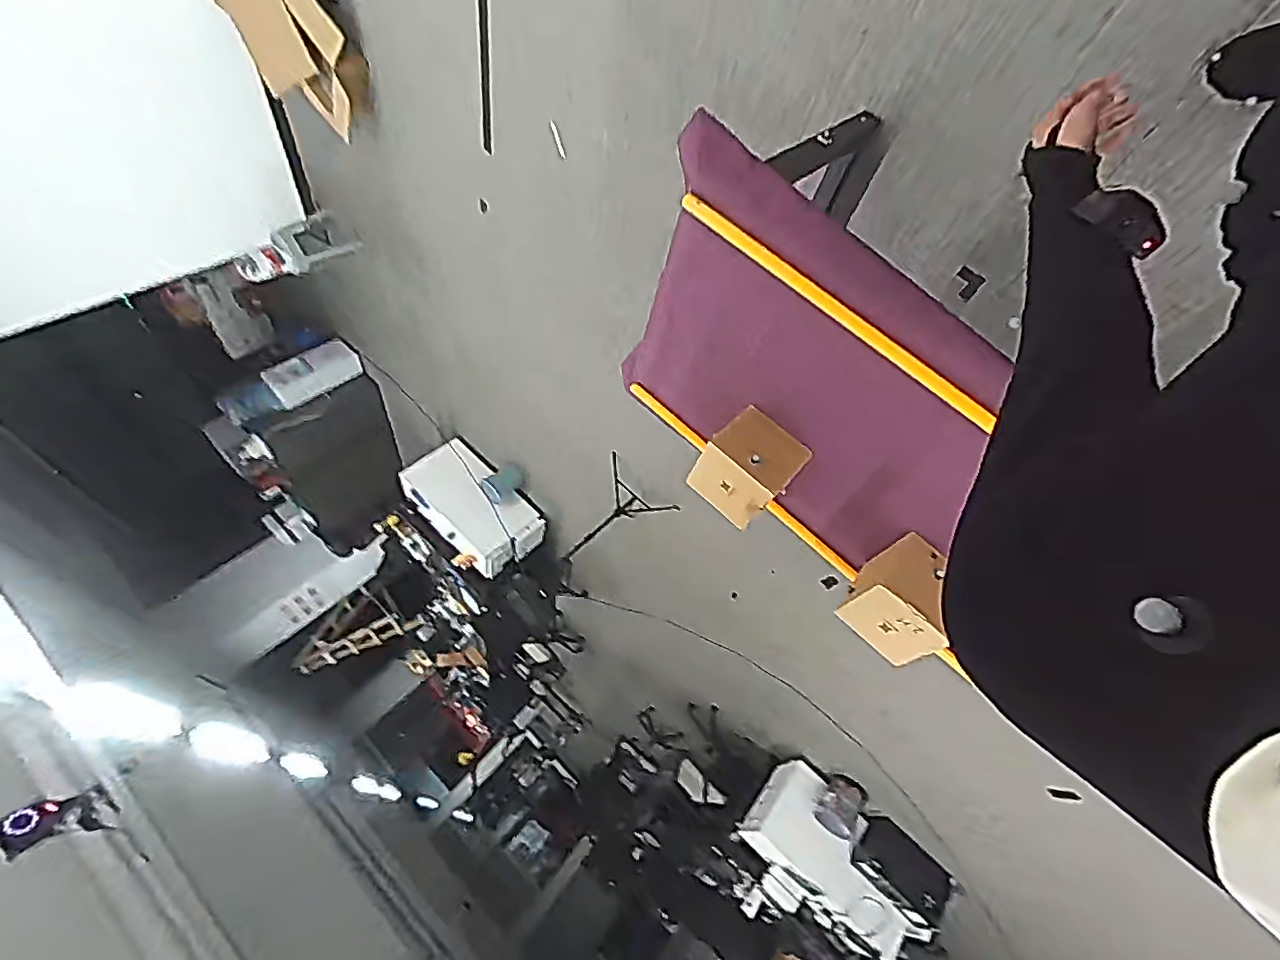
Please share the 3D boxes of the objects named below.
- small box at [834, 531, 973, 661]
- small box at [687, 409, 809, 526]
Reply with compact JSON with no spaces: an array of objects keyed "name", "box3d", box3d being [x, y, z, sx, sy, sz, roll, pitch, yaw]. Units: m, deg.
[{"name":"small box","box3d":[0.548,0.240,1.125,0.168,0.176,0.179,42,147,12]},{"name":"small box","box3d":[0.241,-0.037,1.216,0.179,0.176,0.168,41,147,12]}]
